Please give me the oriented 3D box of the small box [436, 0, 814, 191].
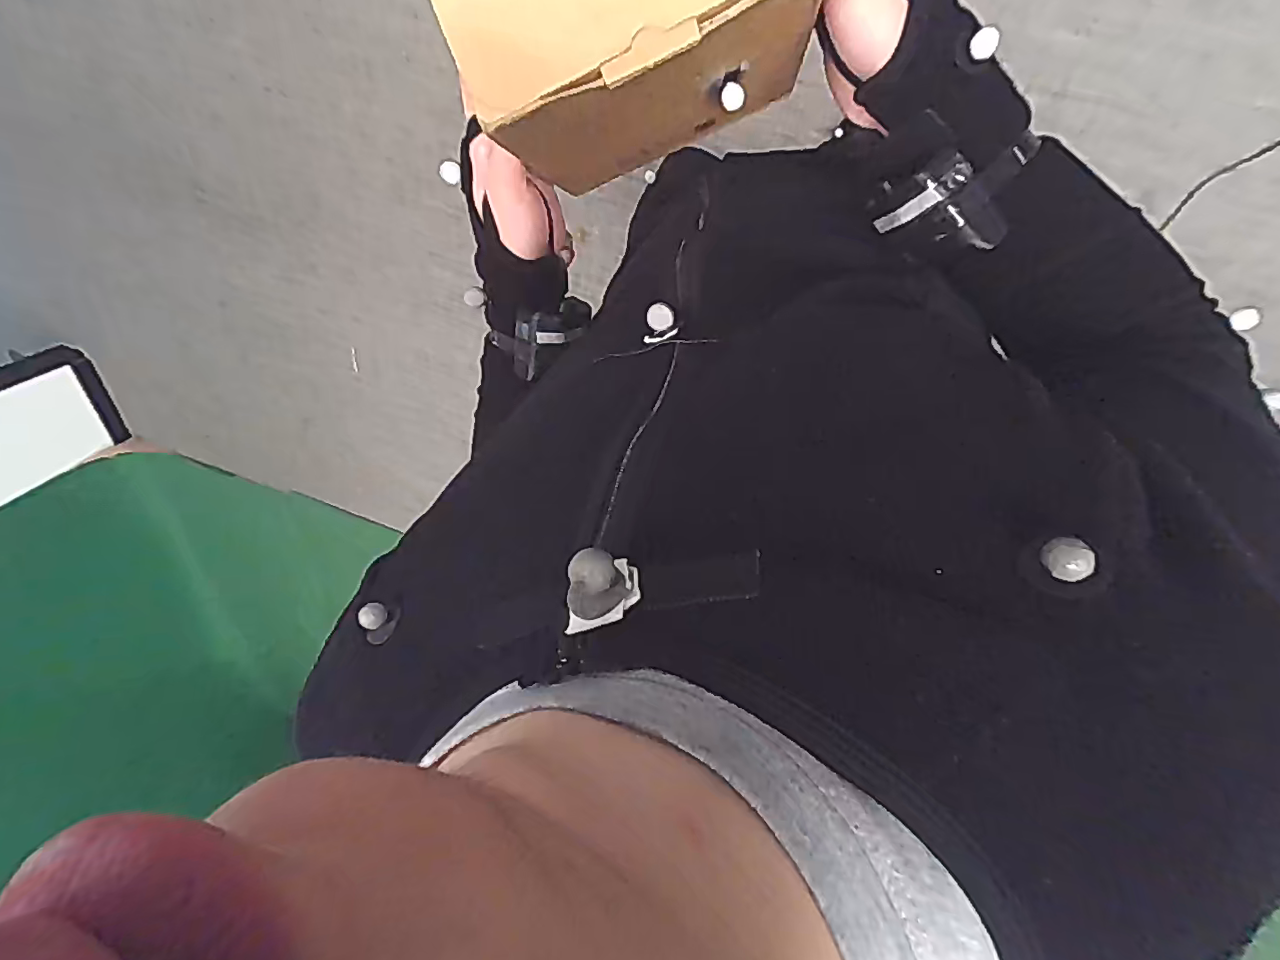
[{"bbox_3d":[-0.012,-0.282,0.294,0.168,0.176,0.179,-18,103,13],"label":"small box"}]
